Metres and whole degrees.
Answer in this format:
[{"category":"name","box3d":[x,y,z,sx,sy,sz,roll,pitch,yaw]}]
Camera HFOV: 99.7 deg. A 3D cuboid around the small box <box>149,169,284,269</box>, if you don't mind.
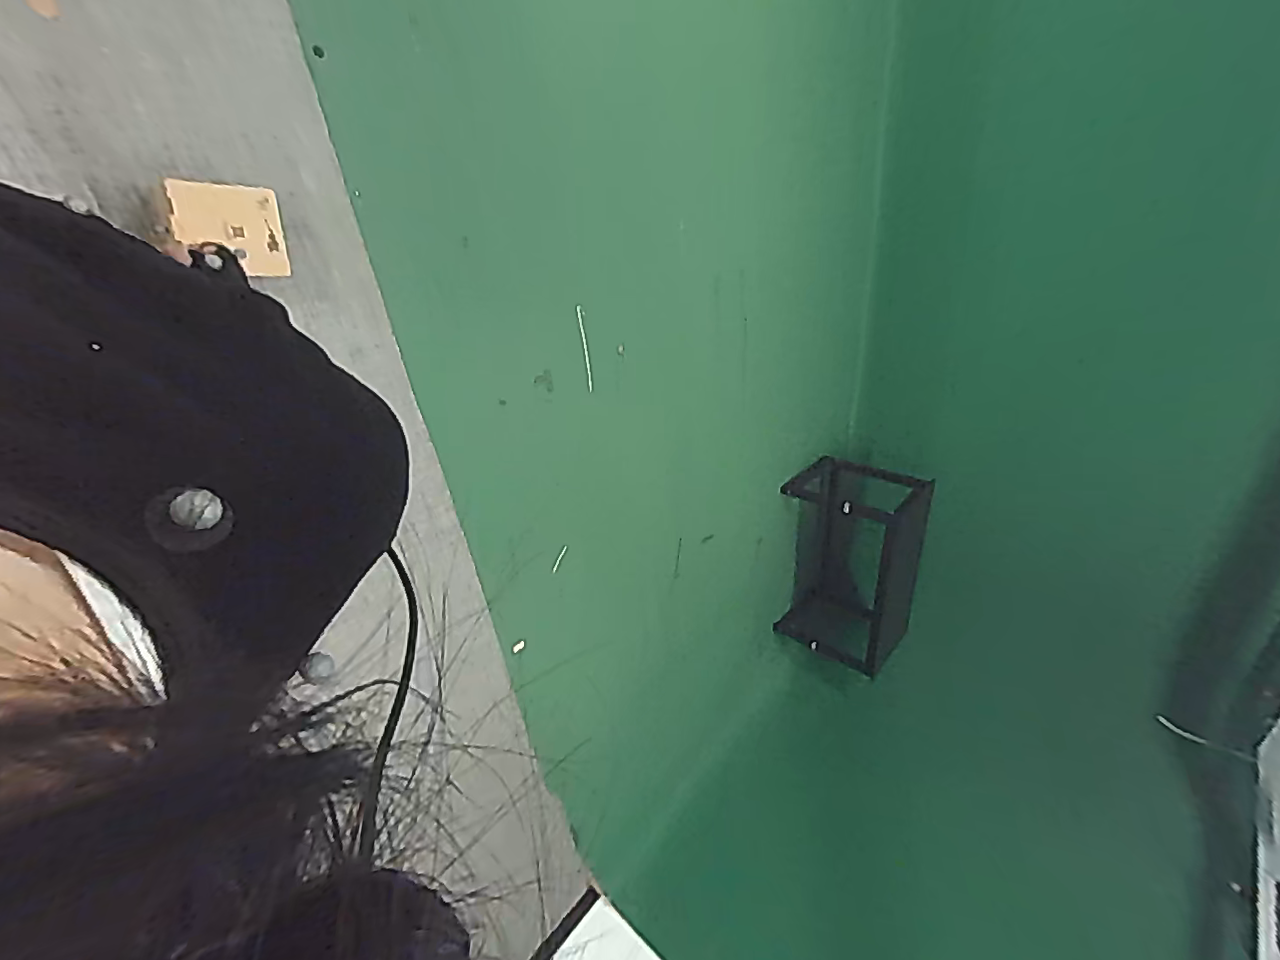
[{"category":"small box","box3d":[-0.858,-0.517,1.094,0.179,0.176,0.168,-20,120,-43]}]
